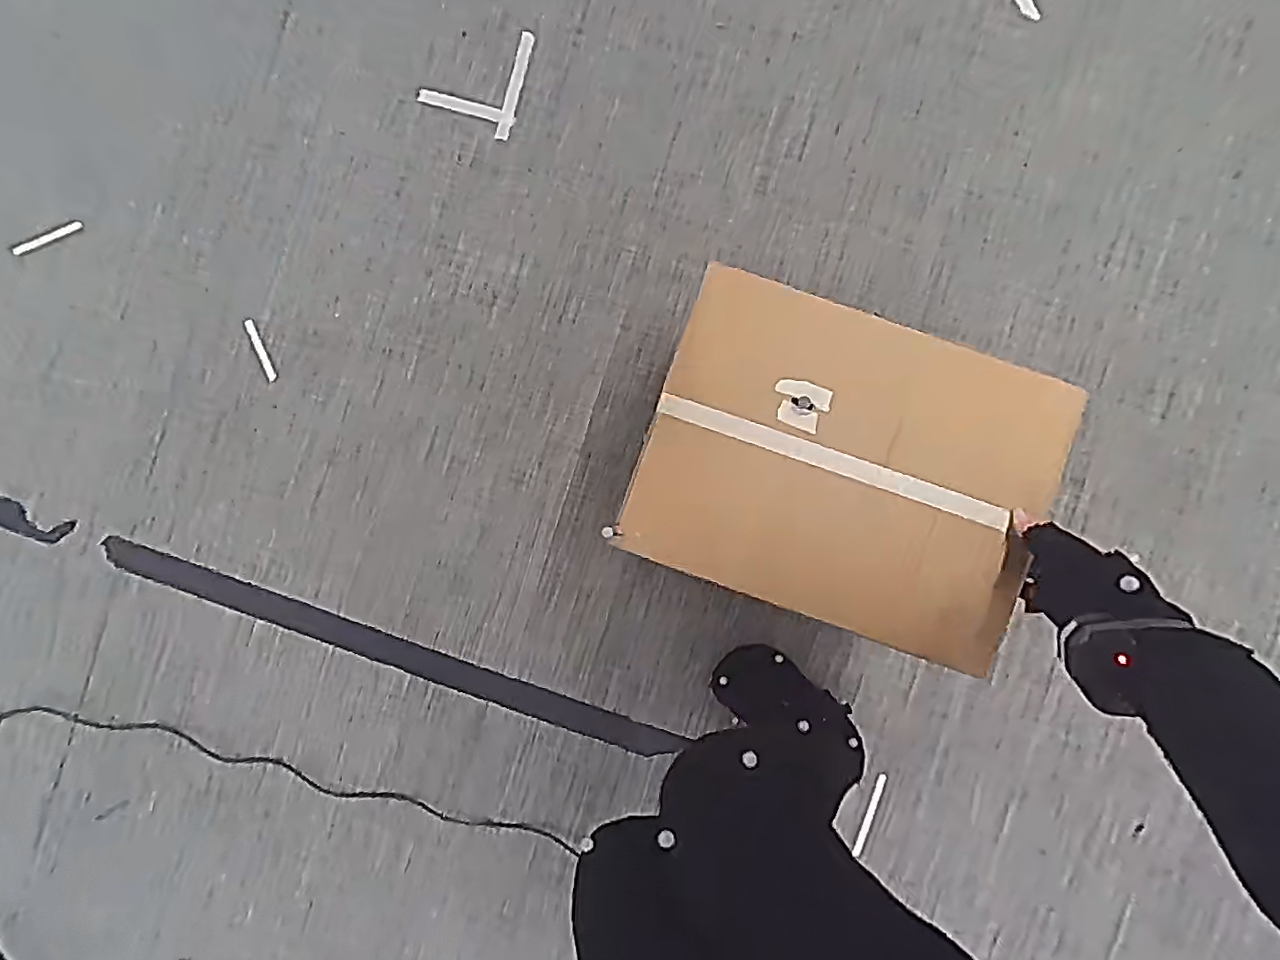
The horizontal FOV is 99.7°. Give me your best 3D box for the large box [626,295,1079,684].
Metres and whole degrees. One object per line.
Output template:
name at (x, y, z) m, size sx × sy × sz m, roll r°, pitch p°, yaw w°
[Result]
large box at (0.229, 0.009, 0.717) m, size 0.408 × 0.320 × 0.320 m, roll 20°, pitch 89°, yaw 3°
